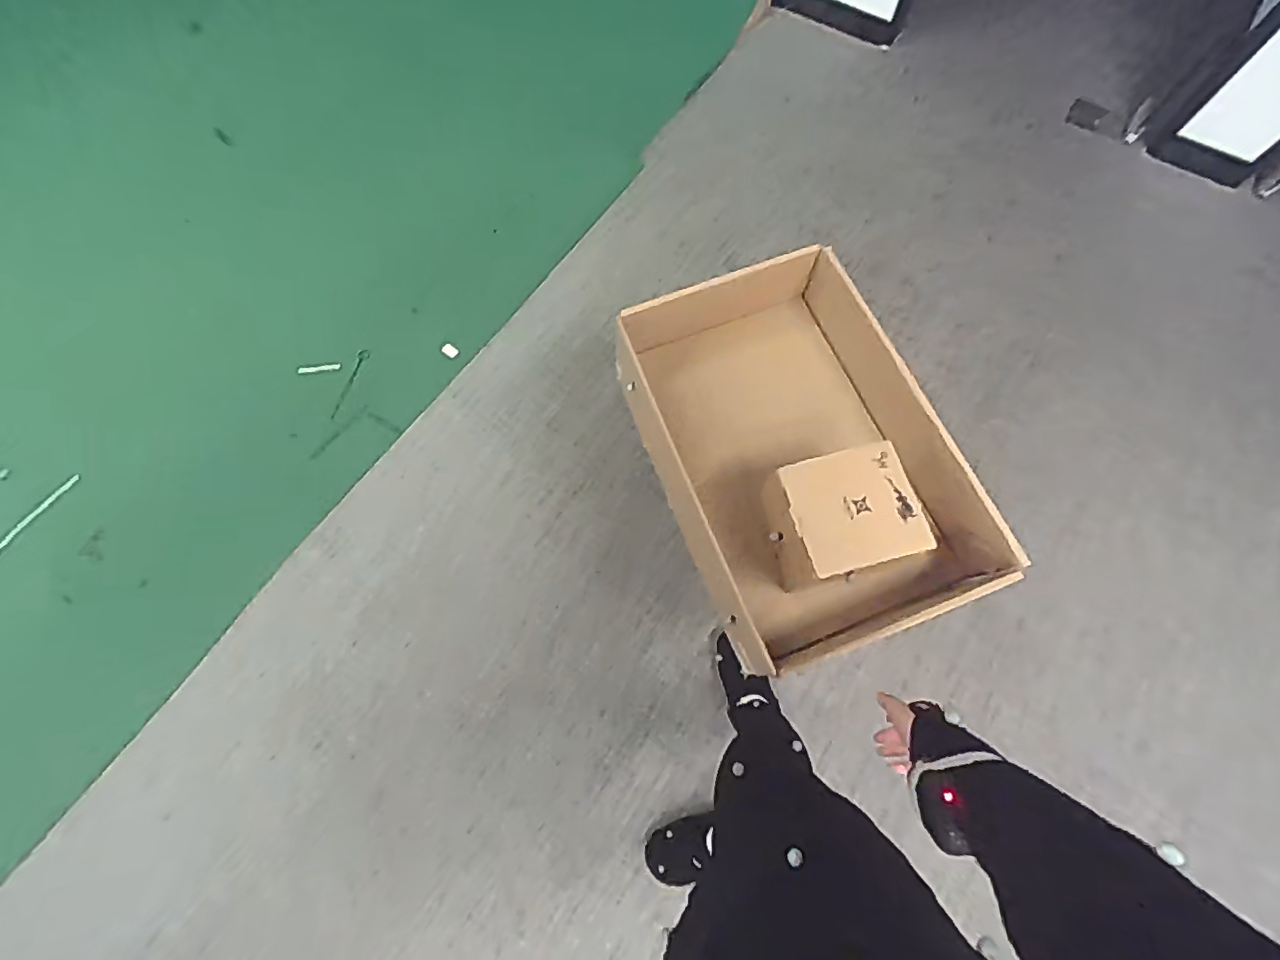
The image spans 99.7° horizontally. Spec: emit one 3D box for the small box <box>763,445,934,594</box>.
[{"bbox_3d":[0.298,0.068,0.824,0.179,0.176,0.168,-14,72,-3],"label":"small box"}]
